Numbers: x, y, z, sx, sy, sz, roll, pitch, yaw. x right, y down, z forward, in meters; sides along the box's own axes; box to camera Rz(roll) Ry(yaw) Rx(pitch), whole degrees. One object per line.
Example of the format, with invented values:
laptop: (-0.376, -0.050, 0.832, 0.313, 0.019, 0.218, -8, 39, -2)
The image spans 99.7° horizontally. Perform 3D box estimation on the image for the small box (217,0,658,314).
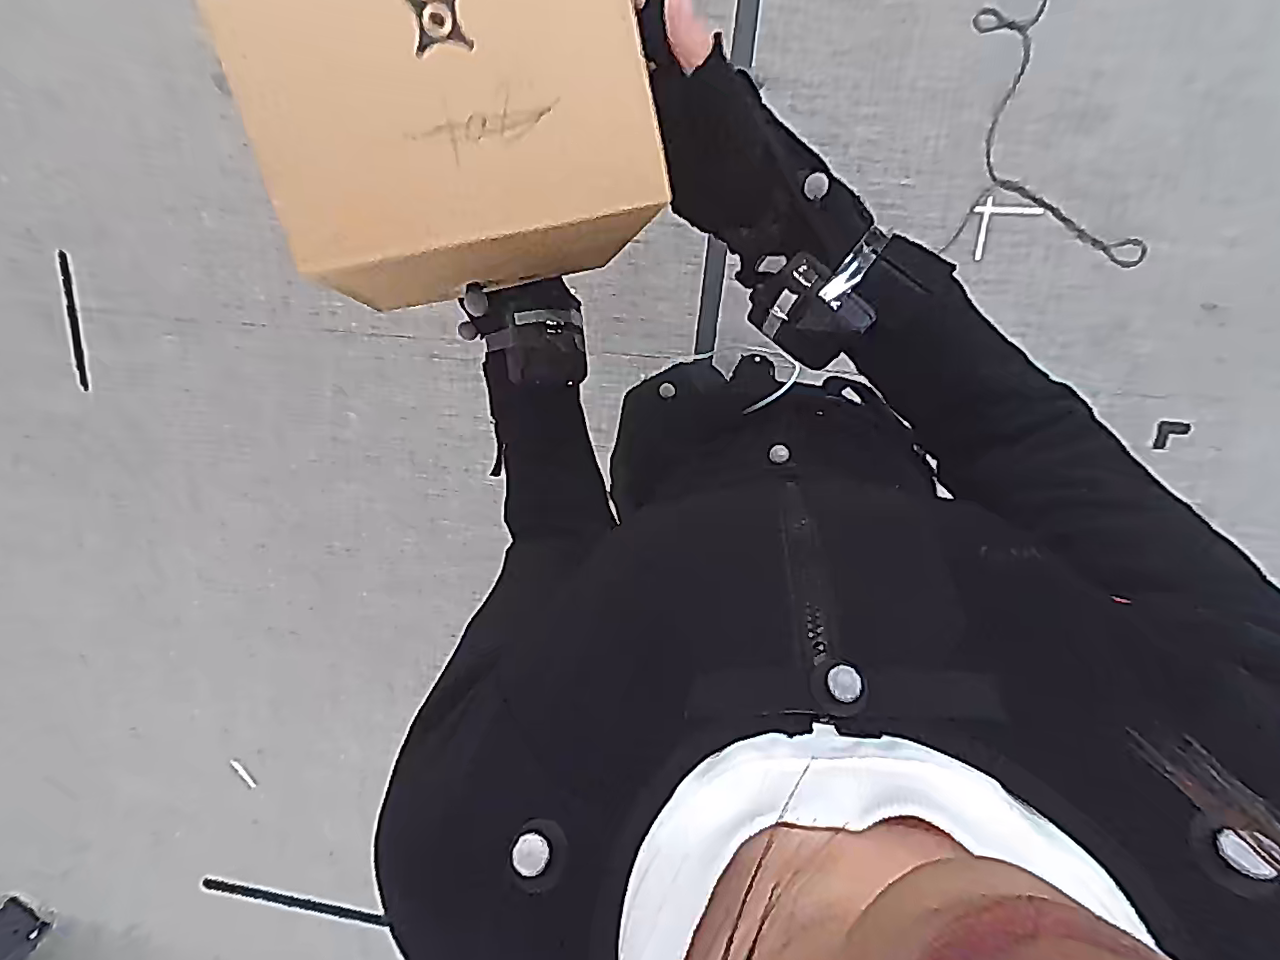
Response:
small box: (-0.105, -0.206, 0.310, 0.168, 0.176, 0.179, -16, 105, -9)
